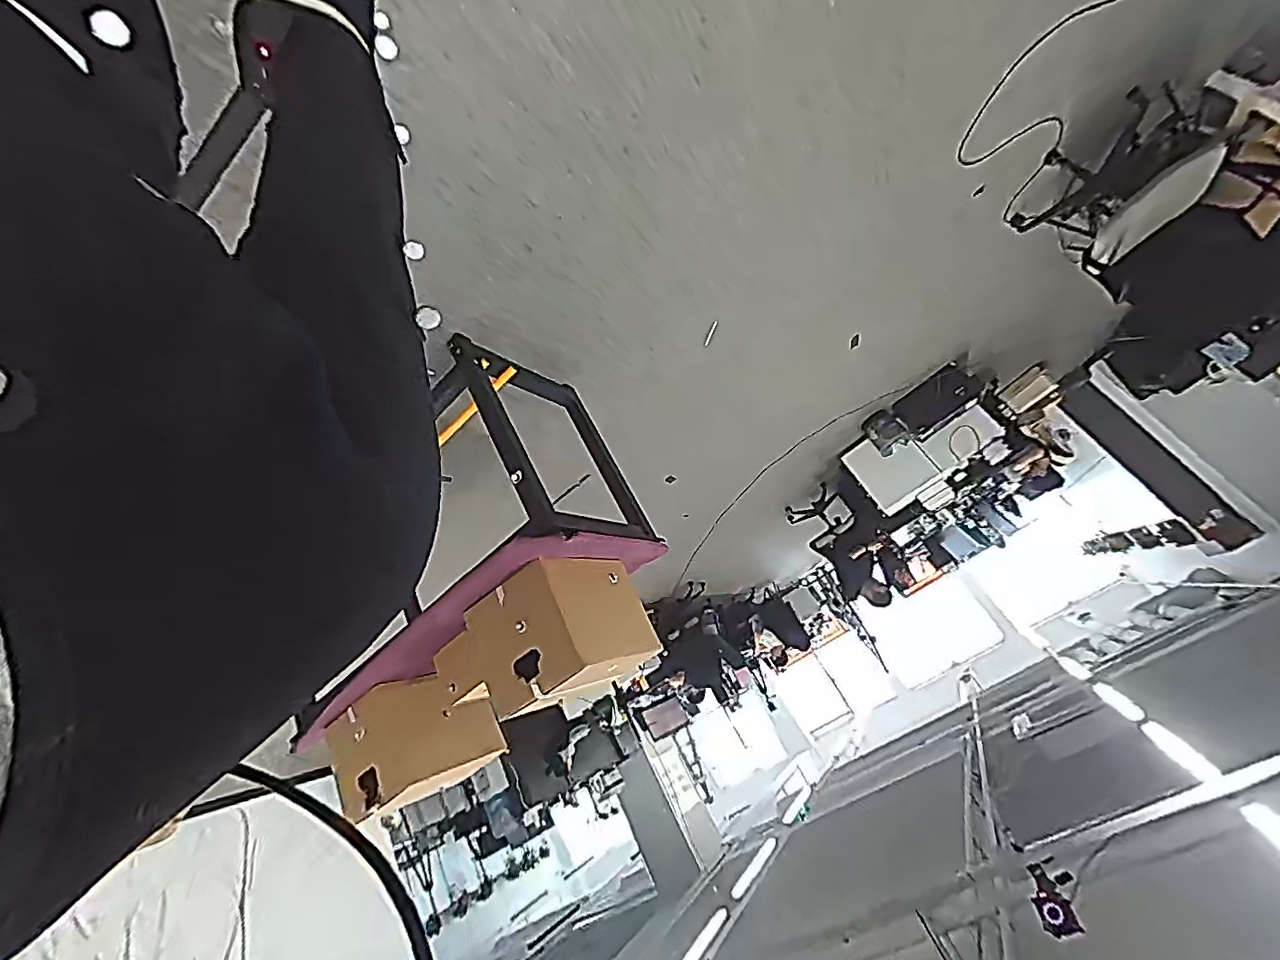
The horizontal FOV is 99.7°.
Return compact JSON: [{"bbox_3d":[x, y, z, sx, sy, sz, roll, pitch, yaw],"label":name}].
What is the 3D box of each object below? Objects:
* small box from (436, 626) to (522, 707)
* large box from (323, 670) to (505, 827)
[{"bbox_3d":[-0.504,0.569,1.669,0.179,0.176,0.168,-39,155,19],"label":"small box"},{"bbox_3d":[-0.735,0.841,1.770,0.320,0.320,0.408,-39,156,19],"label":"large box"}]
